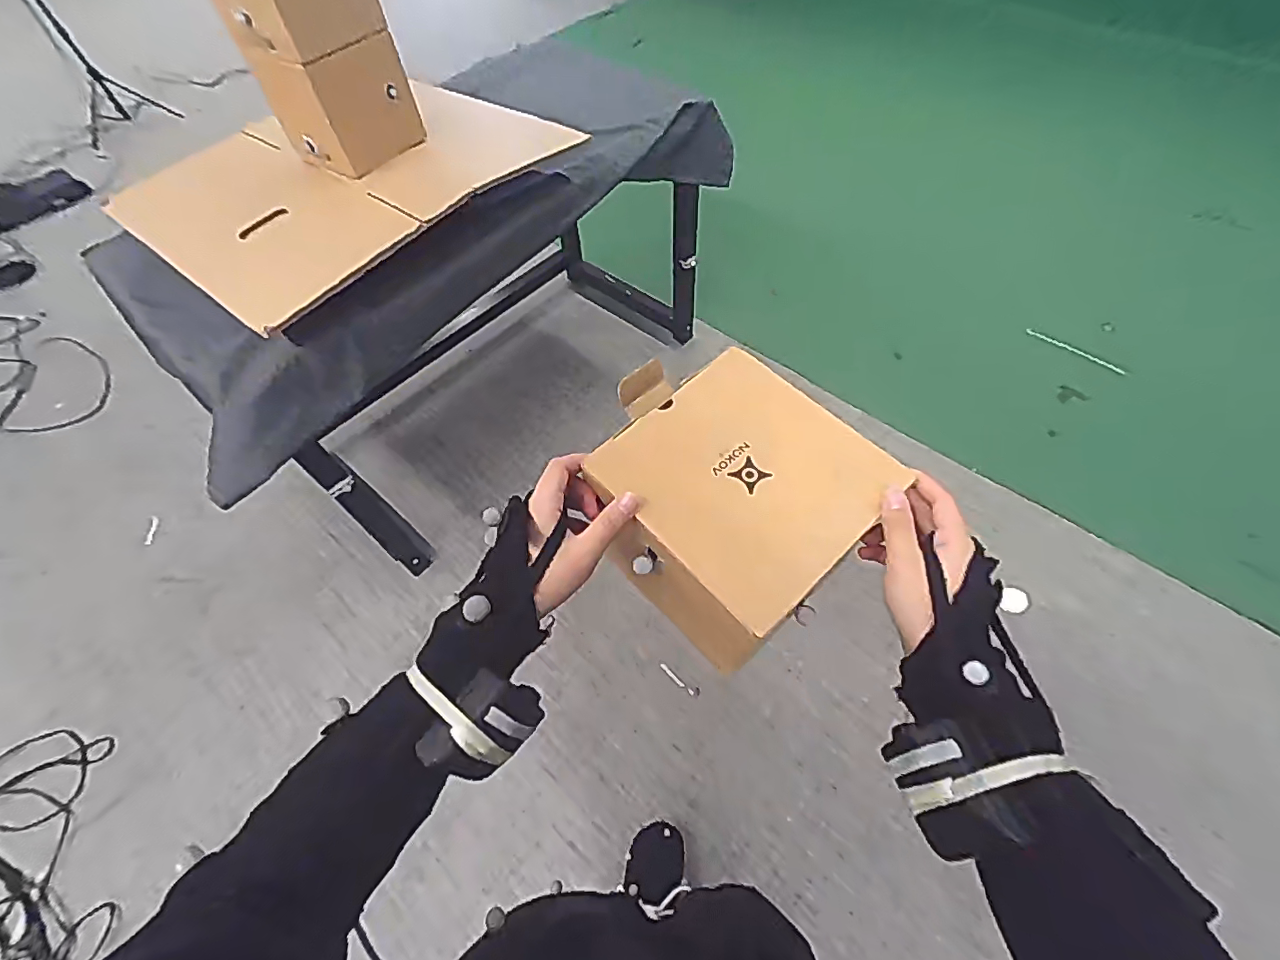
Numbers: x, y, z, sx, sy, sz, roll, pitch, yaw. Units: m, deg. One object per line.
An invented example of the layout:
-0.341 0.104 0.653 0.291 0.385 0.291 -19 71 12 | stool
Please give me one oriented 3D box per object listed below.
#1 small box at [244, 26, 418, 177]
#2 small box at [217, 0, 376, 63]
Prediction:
-0.516 -0.663 0.938 0.168 0.176 0.179 25 62 21 | small box
-0.529 -0.758 0.804 0.168 0.176 0.179 25 61 21 | small box
